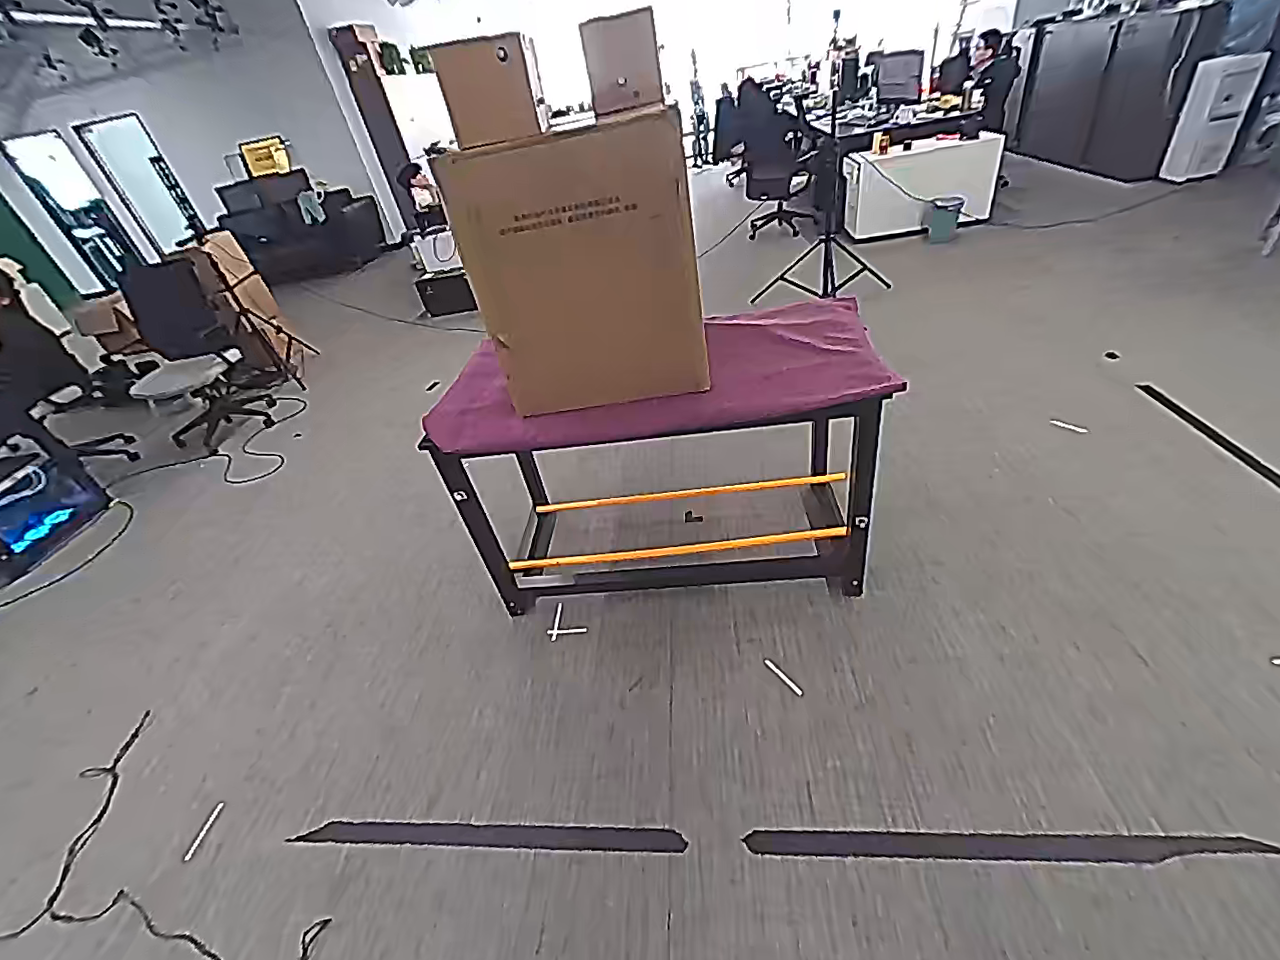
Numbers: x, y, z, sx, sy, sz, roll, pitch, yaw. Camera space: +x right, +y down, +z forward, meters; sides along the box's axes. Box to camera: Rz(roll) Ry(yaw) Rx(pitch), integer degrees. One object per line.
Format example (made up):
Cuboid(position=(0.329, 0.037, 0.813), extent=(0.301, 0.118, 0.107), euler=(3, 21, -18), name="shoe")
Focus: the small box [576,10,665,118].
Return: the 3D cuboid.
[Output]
Cuboid(position=(-0.037, -0.946, 1.240), extent=(0.168, 0.176, 0.179), euler=(-7, 37, 9), name="small box")
